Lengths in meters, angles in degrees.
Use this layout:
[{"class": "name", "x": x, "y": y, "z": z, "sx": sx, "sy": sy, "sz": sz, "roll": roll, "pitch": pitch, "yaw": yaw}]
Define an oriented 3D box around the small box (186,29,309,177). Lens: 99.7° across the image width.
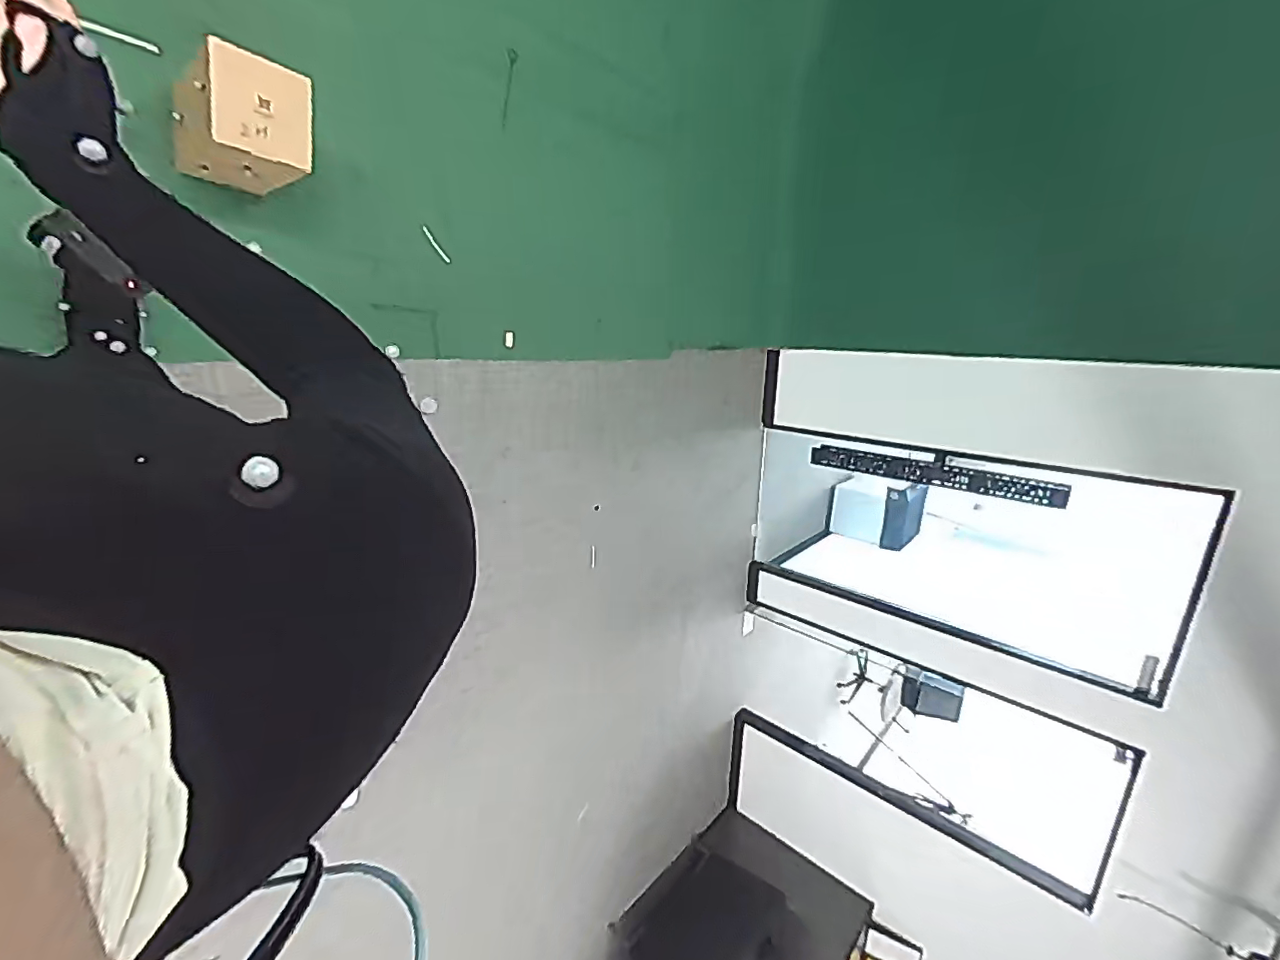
[{"class": "small box", "x": -0.781, "y": -0.733, "z": 1.077, "sx": 0.168, "sy": 0.176, "sz": 0.179, "roll": -6, "pitch": 106, "yaw": -48}]
